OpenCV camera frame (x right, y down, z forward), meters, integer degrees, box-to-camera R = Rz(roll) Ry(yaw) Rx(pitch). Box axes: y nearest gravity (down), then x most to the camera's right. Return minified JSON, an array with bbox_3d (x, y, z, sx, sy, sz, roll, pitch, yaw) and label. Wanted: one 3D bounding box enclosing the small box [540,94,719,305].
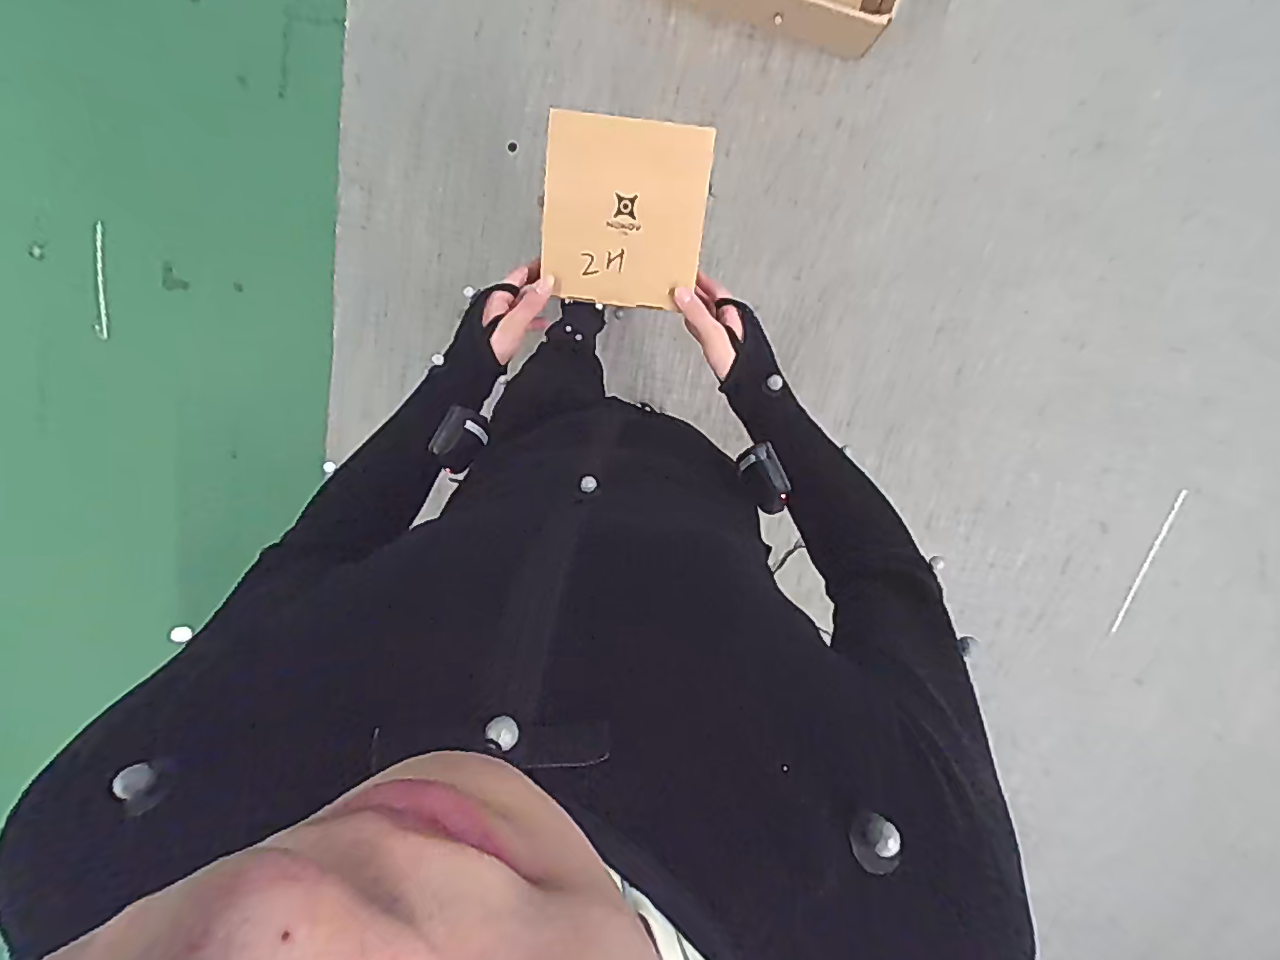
[{"bbox_3d":[-0.012,-0.302,0.620,0.168,0.176,0.179,7,108,0],"label":"small box"}]
